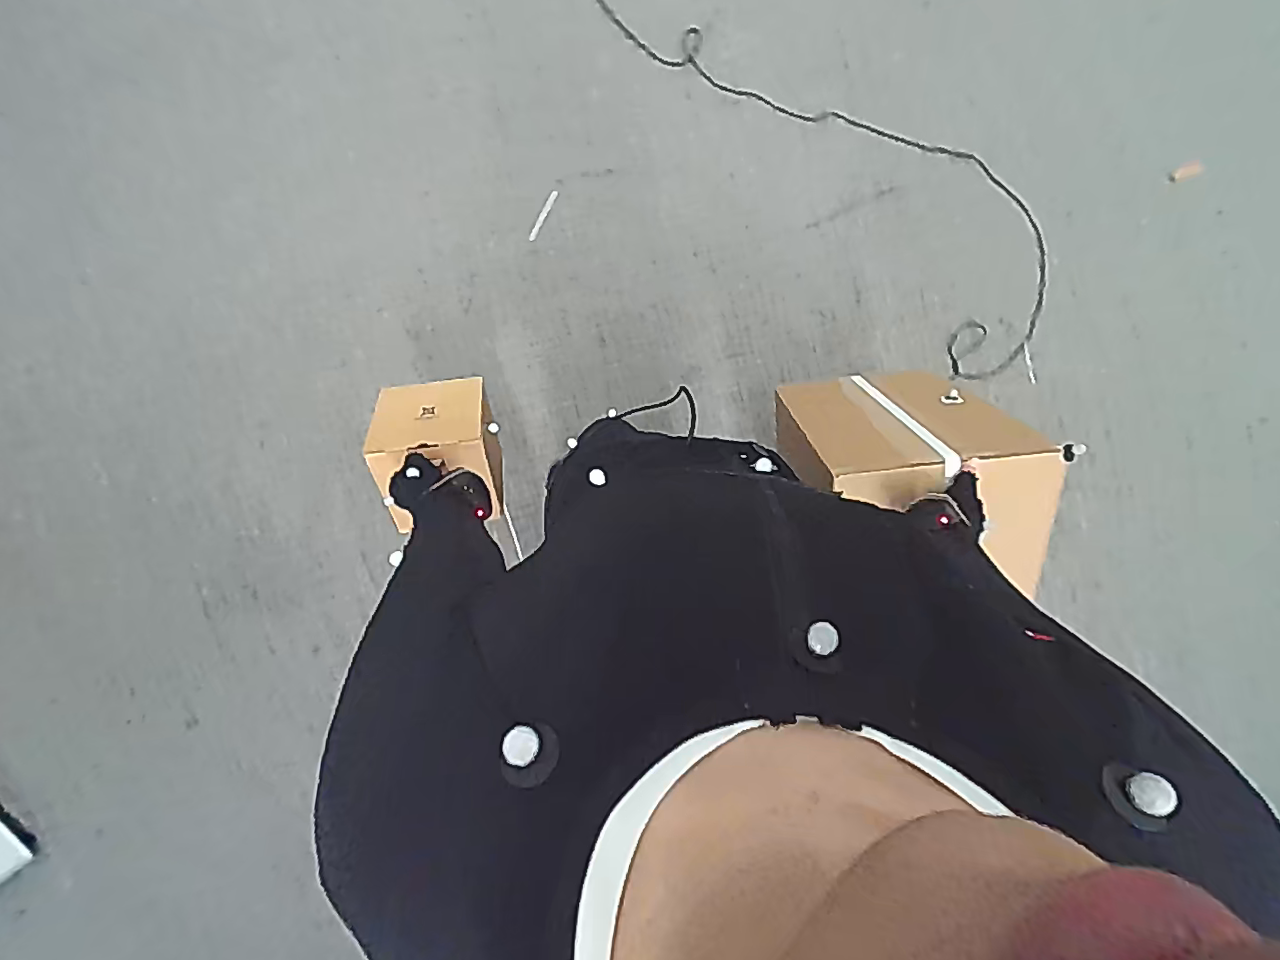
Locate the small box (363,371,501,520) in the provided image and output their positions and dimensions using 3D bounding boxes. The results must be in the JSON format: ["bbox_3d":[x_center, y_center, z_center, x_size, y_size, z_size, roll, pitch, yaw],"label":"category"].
[{"bbox_3d":[-0.327,-0.058,0.888,0.168,0.179,0.176,-7,133,-7],"label":"small box"}]
